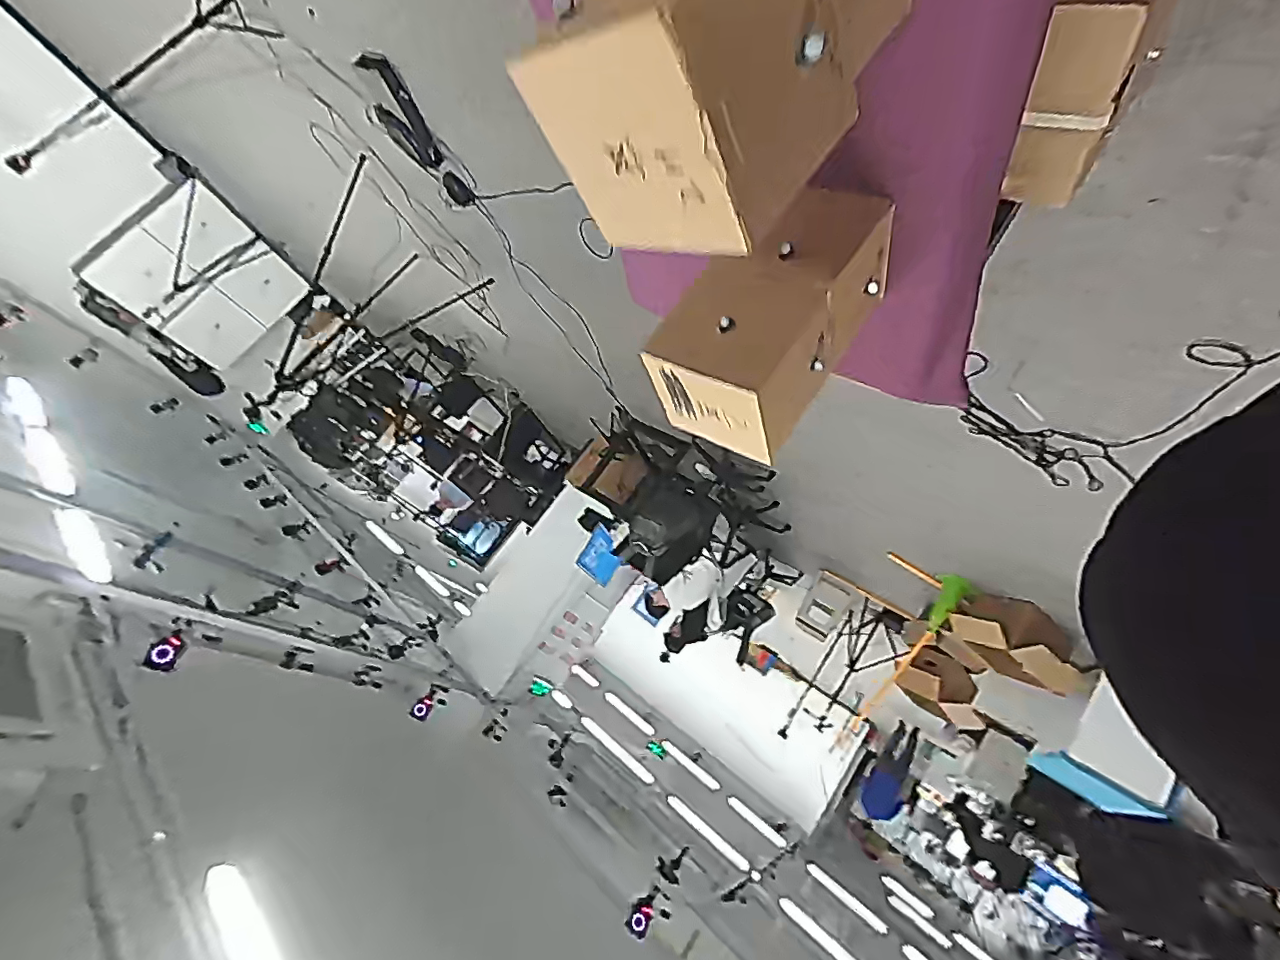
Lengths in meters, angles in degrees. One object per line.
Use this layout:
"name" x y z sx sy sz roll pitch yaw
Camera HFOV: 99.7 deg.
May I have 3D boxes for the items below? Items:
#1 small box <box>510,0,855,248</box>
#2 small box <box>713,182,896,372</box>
"small box" 0.040 -0.313 0.429 0.179 0.176 0.168 25 164 41
"small box" 0.231 -0.290 0.766 0.179 0.176 0.168 28 164 30
